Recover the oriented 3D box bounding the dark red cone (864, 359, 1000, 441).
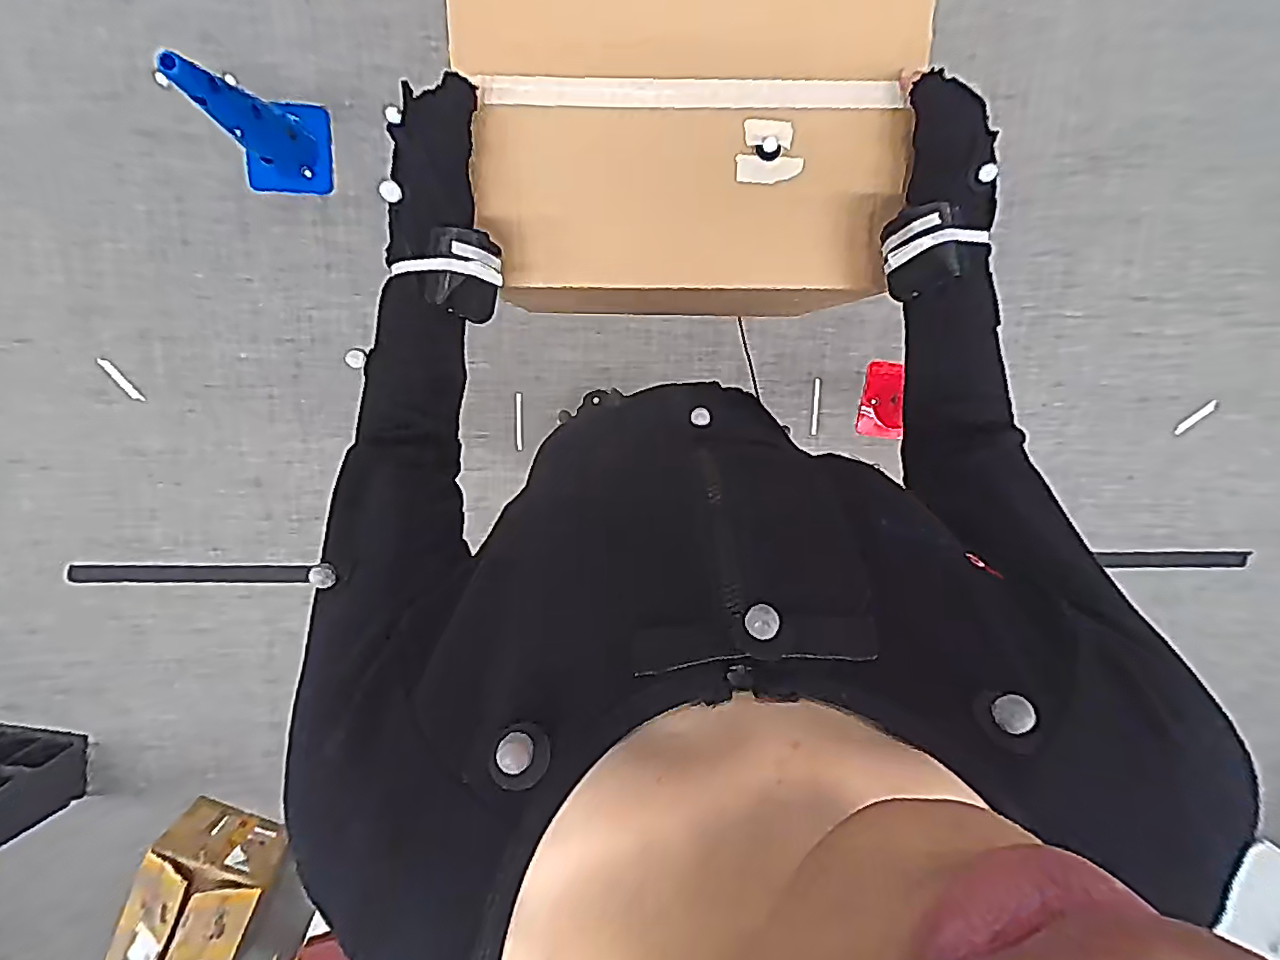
[{"bbox_3d":[0.704,-0.181,1.273,0.201,0.394,0.202,6,100,-2],"label":"dark red cone"}]

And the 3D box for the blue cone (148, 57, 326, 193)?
[{"bbox_3d":[-0.854,-0.770,1.147,0.192,0.380,0.193,4,100,-2],"label":"blue cone"}]

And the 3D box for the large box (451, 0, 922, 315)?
[{"bbox_3d":[0.035,-0.364,0.613,0.408,0.320,0.320,0,103,-2],"label":"large box"}]
